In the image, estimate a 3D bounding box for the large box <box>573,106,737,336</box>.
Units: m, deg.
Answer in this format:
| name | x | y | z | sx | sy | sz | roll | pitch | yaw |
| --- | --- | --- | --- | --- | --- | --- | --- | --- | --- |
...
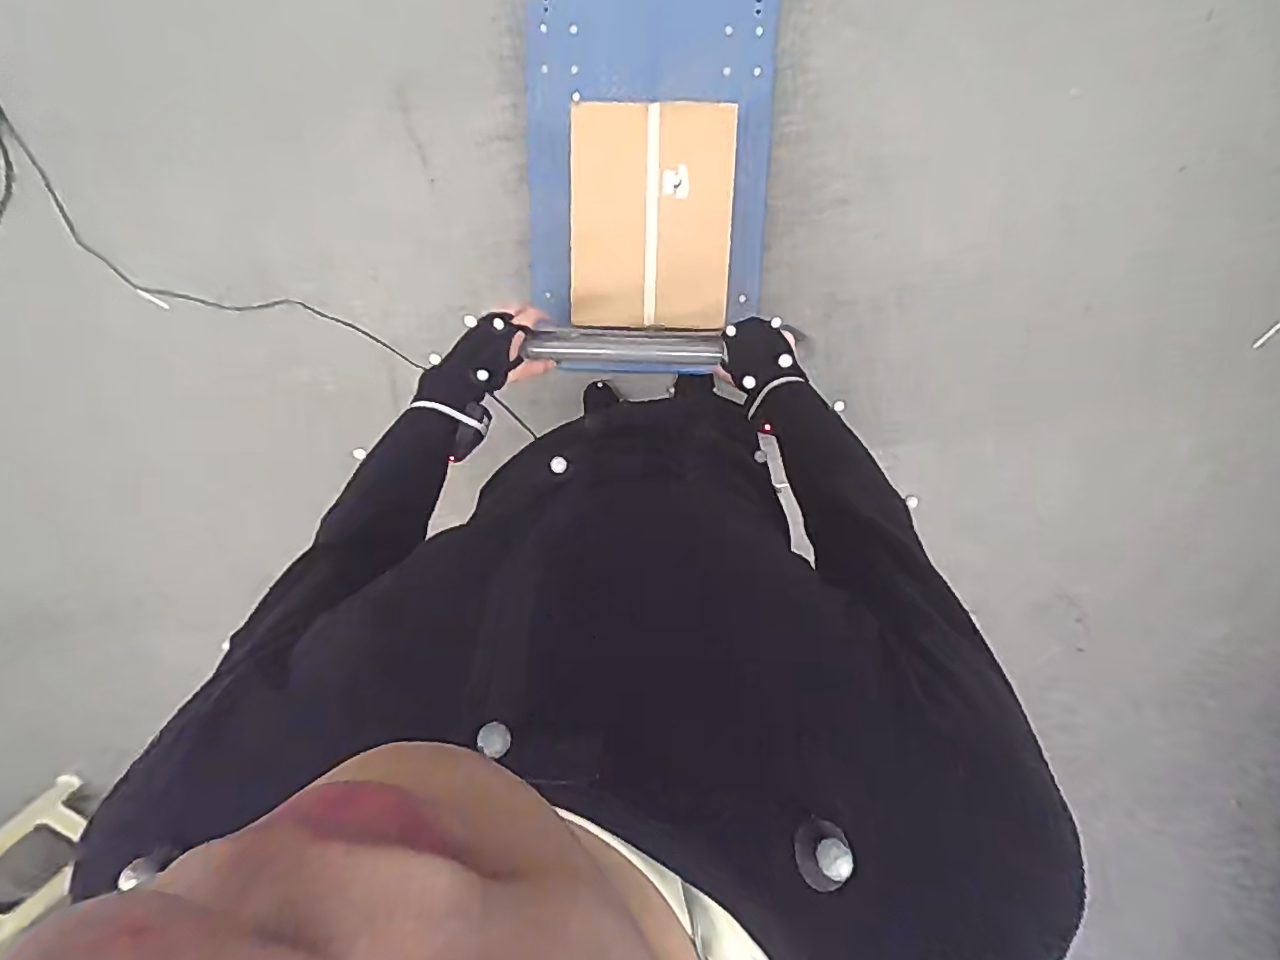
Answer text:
| name | x | y | z | sx | sy | sz | roll | pitch | yaw |
| --- | --- | --- | --- | --- | --- | --- | --- | --- | --- |
| large box | 0.030 | -0.532 | 1.194 | 0.320 | 0.320 | 0.408 | 2 | 103 | 1 |
